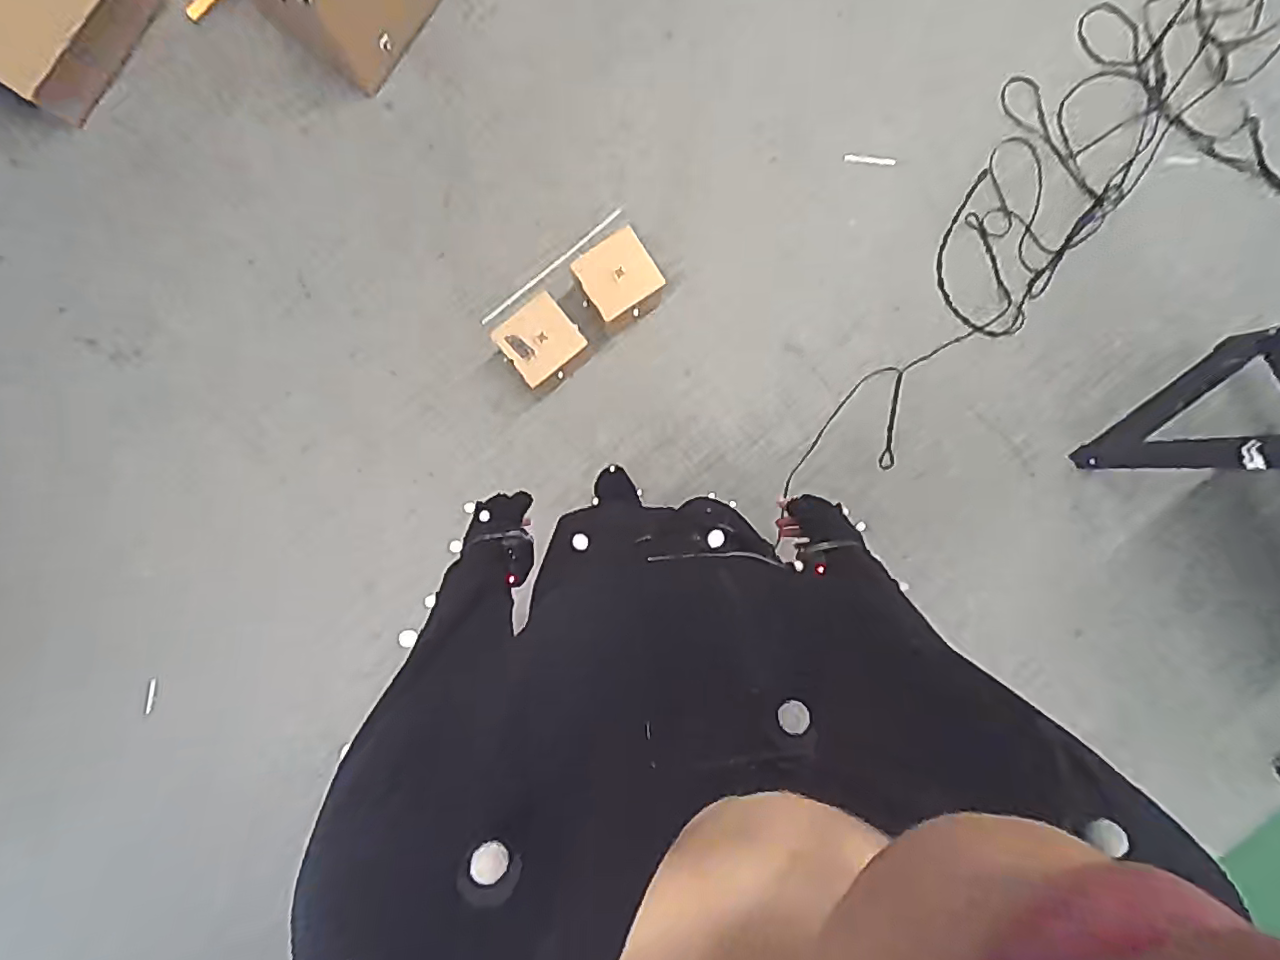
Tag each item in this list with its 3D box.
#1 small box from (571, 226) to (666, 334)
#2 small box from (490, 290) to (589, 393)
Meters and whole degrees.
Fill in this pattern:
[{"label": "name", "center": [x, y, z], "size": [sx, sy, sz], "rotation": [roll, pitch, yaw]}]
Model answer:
[{"label": "small box", "center": [-0.055, -0.496, 1.367], "size": [0.179, 0.176, 0.168], "rotation": [-34, 93, 0]}, {"label": "small box", "center": [-0.244, -0.339, 1.364], "size": [0.179, 0.176, 0.168], "rotation": [-39, 93, -1]}]
